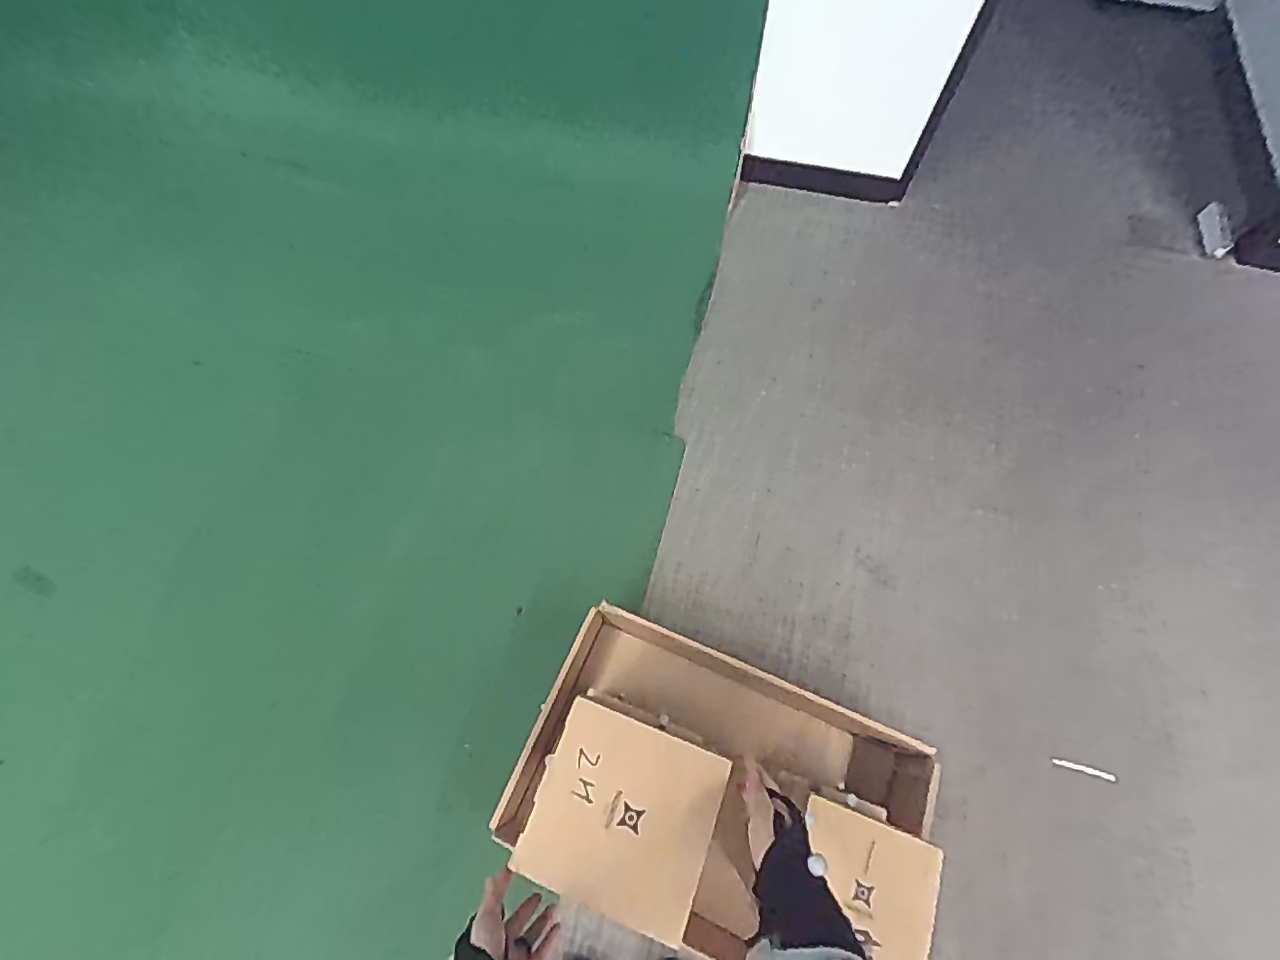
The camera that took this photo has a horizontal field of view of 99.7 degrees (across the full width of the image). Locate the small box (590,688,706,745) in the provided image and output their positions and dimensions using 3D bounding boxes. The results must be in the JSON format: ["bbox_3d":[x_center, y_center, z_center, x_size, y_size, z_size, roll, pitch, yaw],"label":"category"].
[{"bbox_3d":[-0.022,0.411,0.758,0.168,0.176,0.179,21,70,9],"label":"small box"}]

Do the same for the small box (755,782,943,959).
[{"bbox_3d":[0.258,0.523,0.702,0.168,0.176,0.179,20,68,10],"label":"small box"}]

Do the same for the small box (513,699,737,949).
[{"bbox_3d":[-0.012,0.357,0.602,0.179,0.176,0.168,21,69,8],"label":"small box"}]
